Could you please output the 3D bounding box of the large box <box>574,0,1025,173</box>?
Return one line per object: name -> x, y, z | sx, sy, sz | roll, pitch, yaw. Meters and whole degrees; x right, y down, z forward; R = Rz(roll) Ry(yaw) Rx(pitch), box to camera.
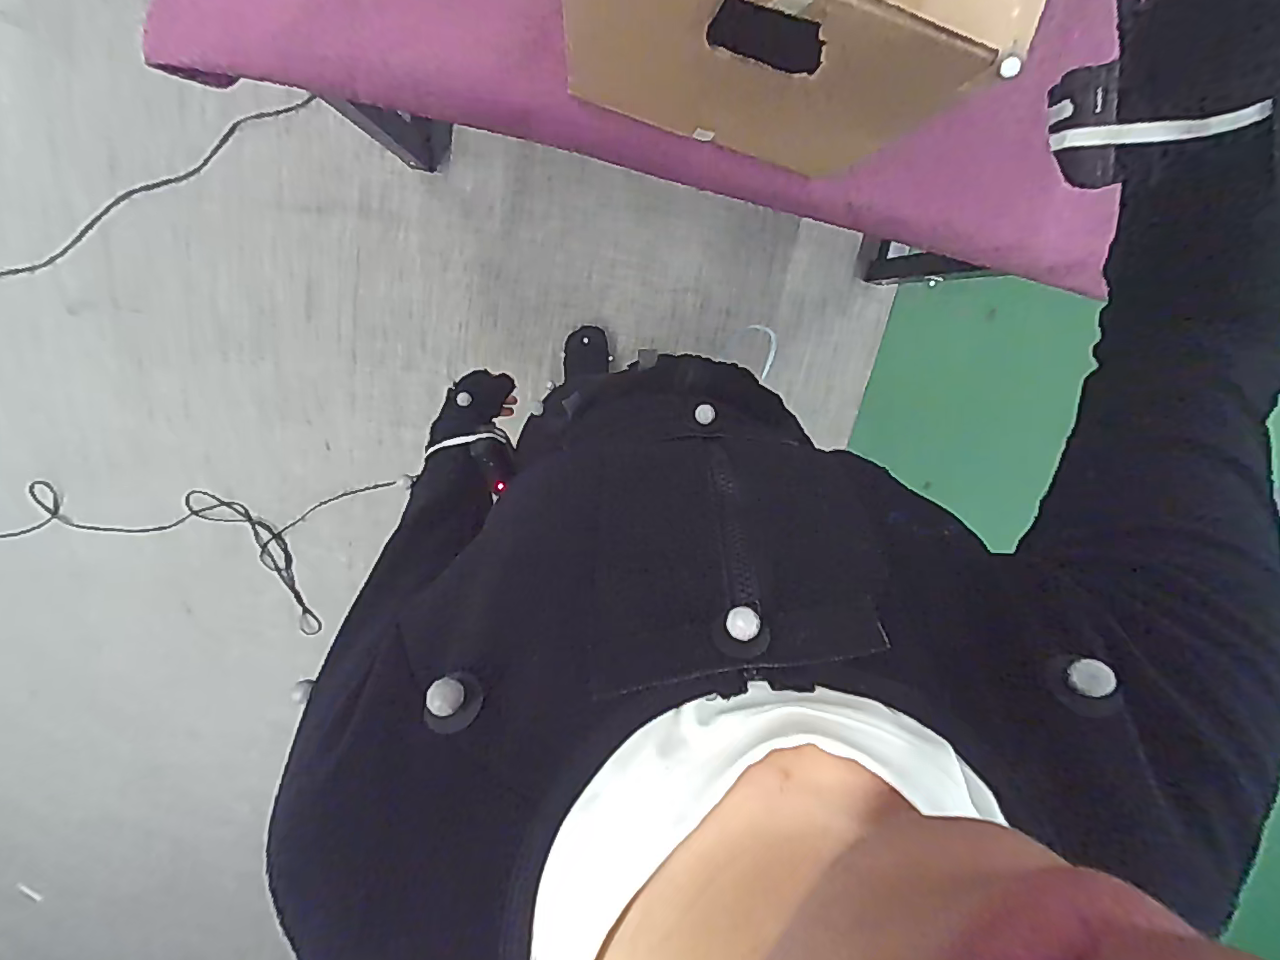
large box -> 0.135, -0.541, 0.441 | 0.320, 0.320, 0.408 | 12, 106, -9
